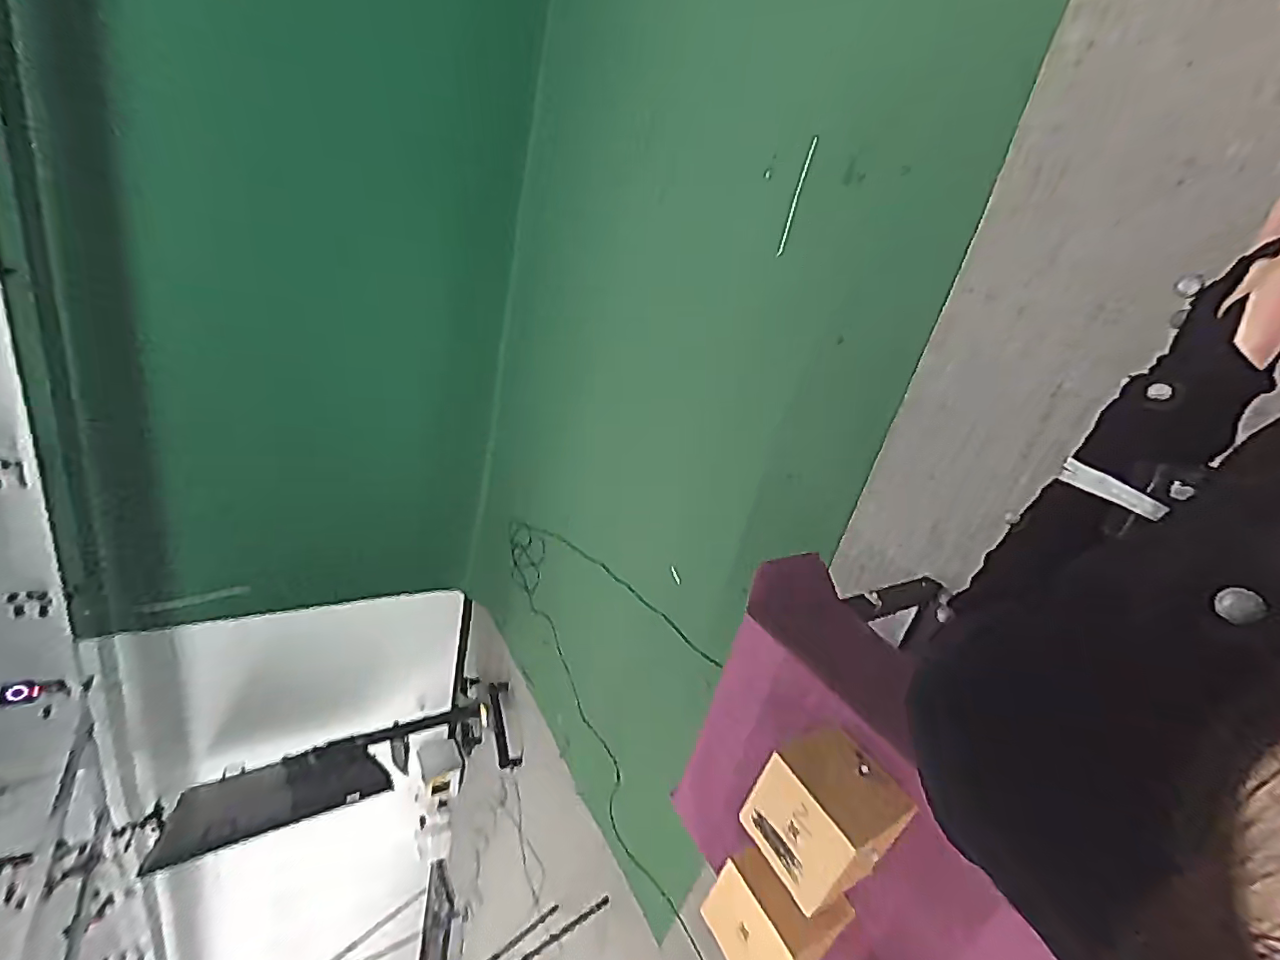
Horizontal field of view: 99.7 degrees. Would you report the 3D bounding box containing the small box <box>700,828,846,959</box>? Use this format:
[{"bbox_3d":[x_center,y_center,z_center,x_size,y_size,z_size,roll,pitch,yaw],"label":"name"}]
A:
[{"bbox_3d":[0.242,0.780,0.981,0.168,0.176,0.179,44,126,45],"label":"small box"}]
